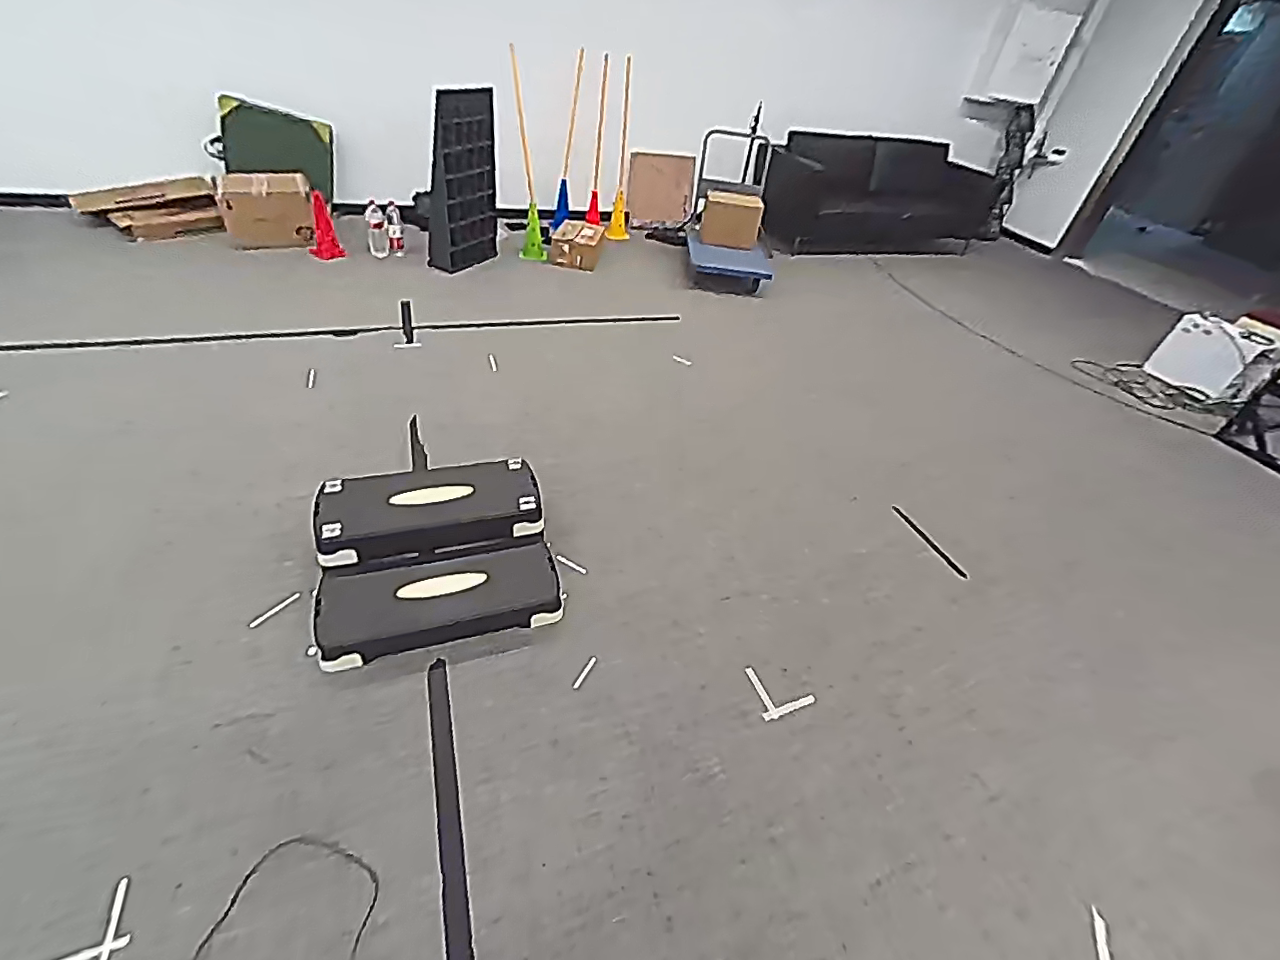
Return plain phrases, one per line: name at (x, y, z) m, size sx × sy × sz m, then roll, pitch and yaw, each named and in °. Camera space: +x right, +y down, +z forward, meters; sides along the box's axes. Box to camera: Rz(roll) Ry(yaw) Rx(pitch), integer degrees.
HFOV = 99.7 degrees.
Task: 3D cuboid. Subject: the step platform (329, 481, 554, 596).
step platform at (-0.631, 0.174, 1.776) m, size 0.684 × 0.204 × 0.286 m, roll -4°, pitch 40°, yaw -17°
